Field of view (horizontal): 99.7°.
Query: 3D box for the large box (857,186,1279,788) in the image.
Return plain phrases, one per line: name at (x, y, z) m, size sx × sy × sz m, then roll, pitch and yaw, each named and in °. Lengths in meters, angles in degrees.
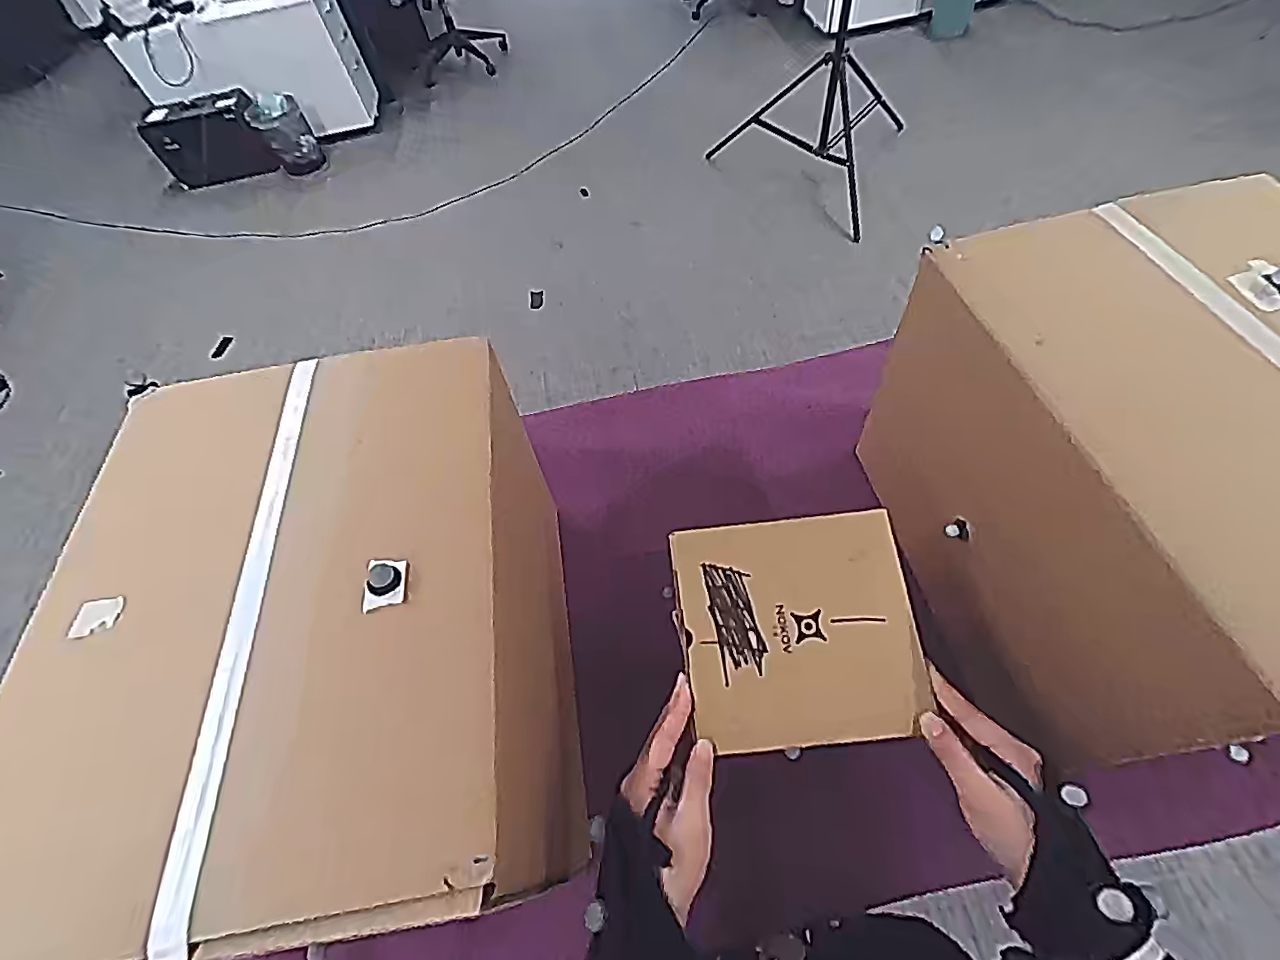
large box at (0.448, 0.012, 0.490) m, size 0.320 × 0.320 × 0.408 m, roll -11°, pitch 55°, yaw 0°
